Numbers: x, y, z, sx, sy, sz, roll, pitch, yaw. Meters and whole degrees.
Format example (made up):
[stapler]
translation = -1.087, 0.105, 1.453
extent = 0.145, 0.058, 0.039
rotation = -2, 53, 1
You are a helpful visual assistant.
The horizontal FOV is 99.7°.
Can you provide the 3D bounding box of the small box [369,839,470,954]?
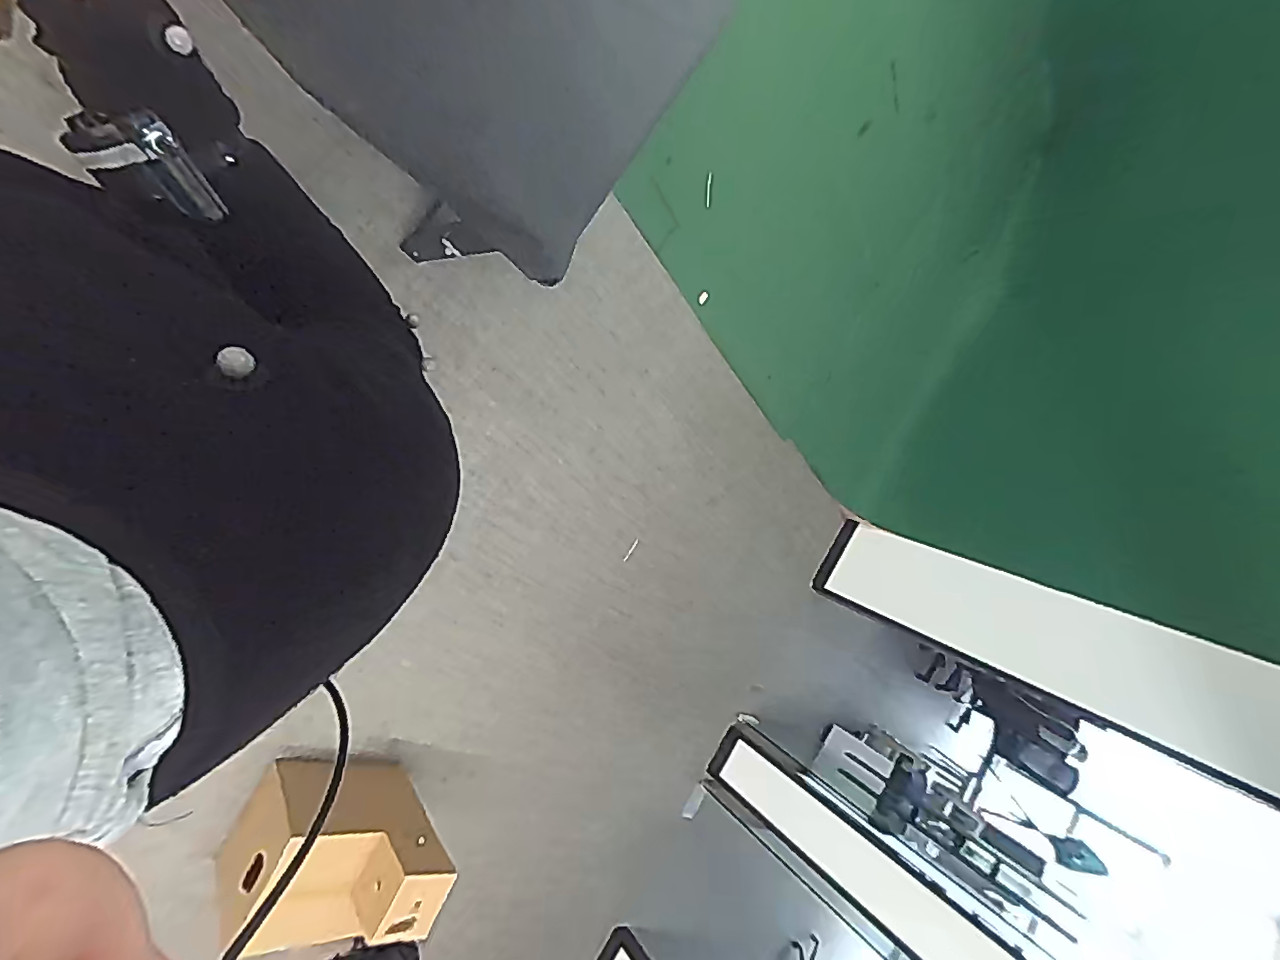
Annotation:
[small box]
translation = -0.594, 1.098, 1.440
extent = 0.168, 0.176, 0.179
rotation = 36, 75, -43
